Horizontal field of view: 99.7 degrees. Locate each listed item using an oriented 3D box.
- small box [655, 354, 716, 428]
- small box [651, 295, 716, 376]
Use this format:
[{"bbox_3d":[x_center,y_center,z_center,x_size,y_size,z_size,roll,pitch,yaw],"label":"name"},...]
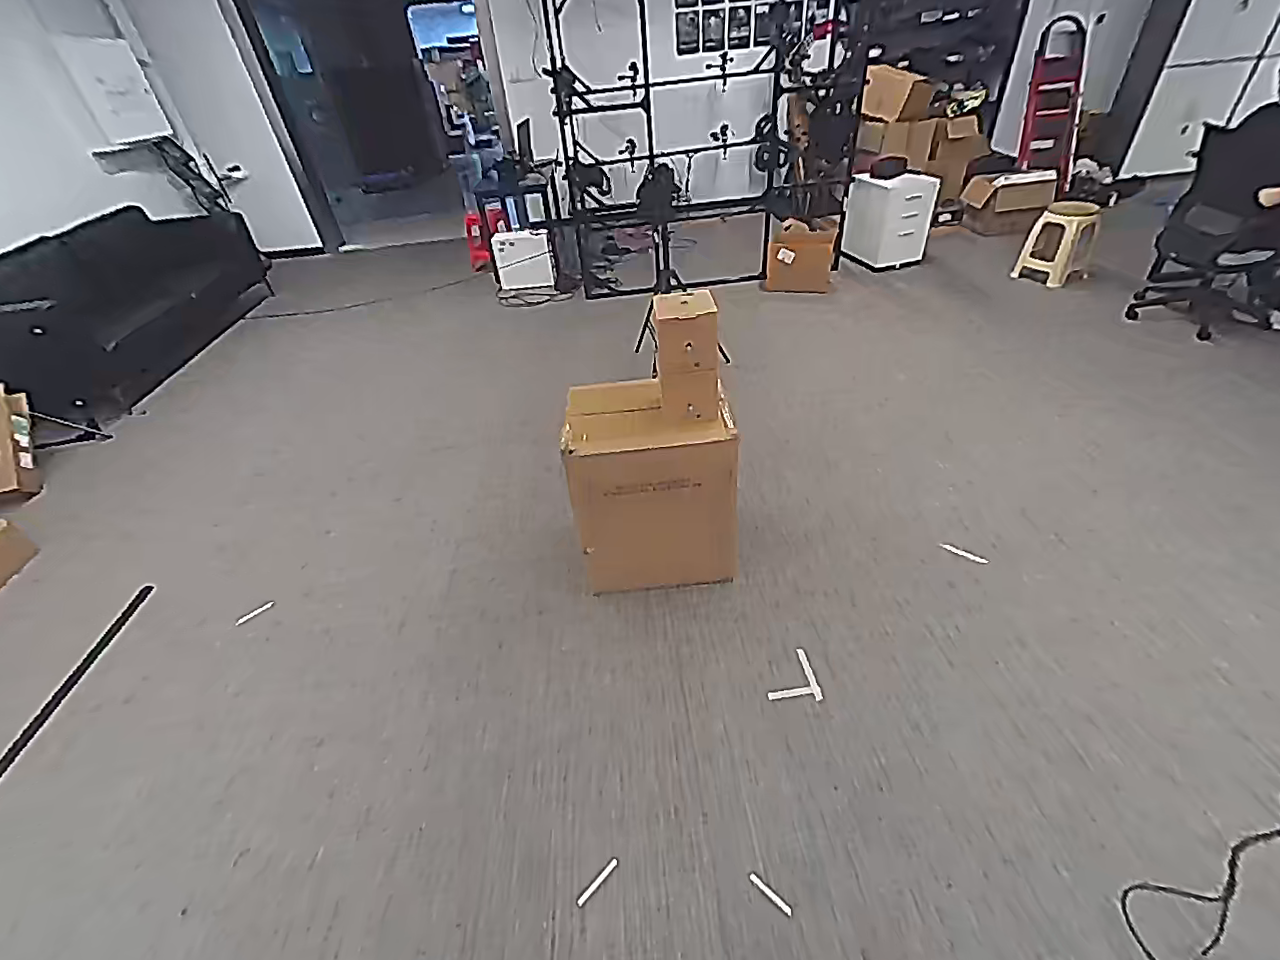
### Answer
[{"bbox_3d":[0.136,-0.279,1.650,0.168,0.176,0.179,-7,39,1],"label":"small box"},{"bbox_3d":[0.124,-0.409,1.550,0.168,0.176,0.179,-6,39,2],"label":"small box"}]
